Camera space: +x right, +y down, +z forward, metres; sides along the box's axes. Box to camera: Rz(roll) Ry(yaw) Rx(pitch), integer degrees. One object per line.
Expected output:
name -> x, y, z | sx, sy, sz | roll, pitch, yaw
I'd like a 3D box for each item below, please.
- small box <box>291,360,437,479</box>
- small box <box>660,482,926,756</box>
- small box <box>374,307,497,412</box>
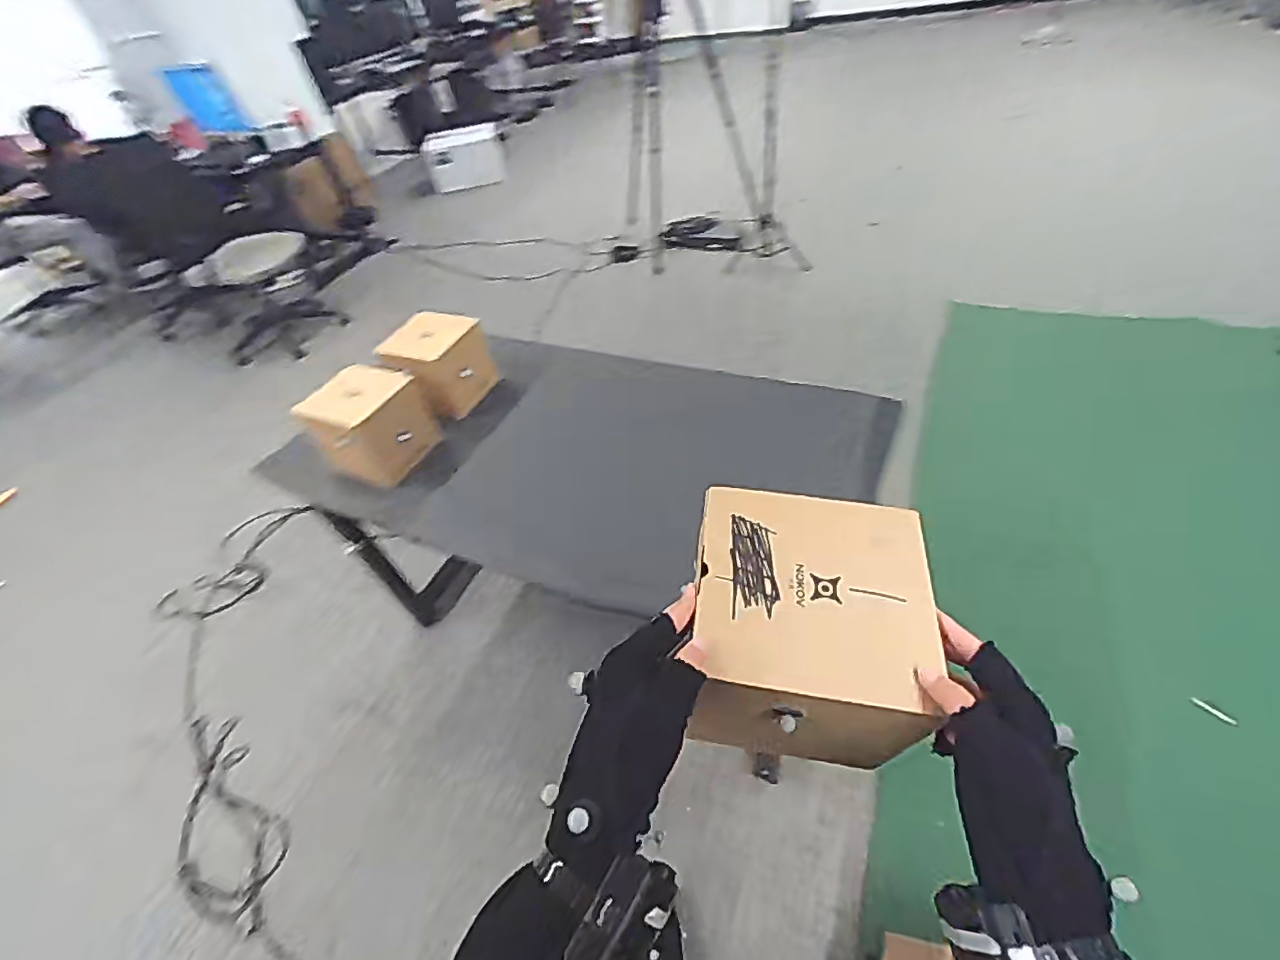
small box -> -0.559, -0.123, 1.123 | 0.179, 0.176, 0.168 | 14, 50, 21
small box -> 0.113, 0.124, 0.467 | 0.179, 0.176, 0.168 | 7, 53, 5
small box -> -0.463, -0.277, 1.255 | 0.179, 0.176, 0.168 | 12, 51, 22
